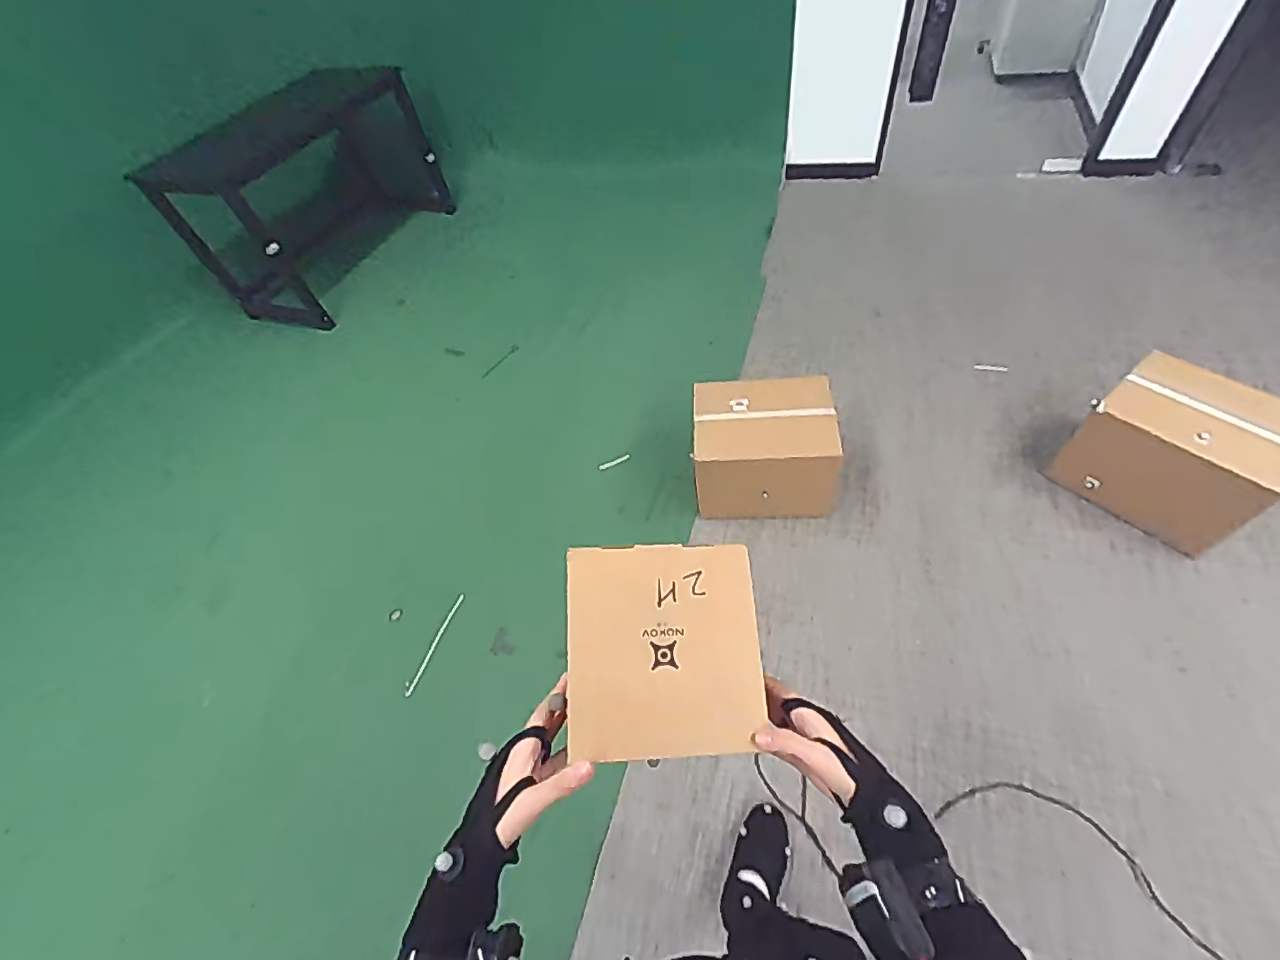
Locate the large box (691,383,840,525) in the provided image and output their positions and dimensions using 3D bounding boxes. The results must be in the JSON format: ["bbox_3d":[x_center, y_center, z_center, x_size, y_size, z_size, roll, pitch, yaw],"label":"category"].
[{"bbox_3d":[0.371,-0.073,1.681,0.408,0.320,0.320,-2,52,9],"label":"large box"}]

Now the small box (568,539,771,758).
[{"bbox_3d":[0.016,0.164,0.531,0.168,0.176,0.179,0,68,-7],"label":"small box"}]
